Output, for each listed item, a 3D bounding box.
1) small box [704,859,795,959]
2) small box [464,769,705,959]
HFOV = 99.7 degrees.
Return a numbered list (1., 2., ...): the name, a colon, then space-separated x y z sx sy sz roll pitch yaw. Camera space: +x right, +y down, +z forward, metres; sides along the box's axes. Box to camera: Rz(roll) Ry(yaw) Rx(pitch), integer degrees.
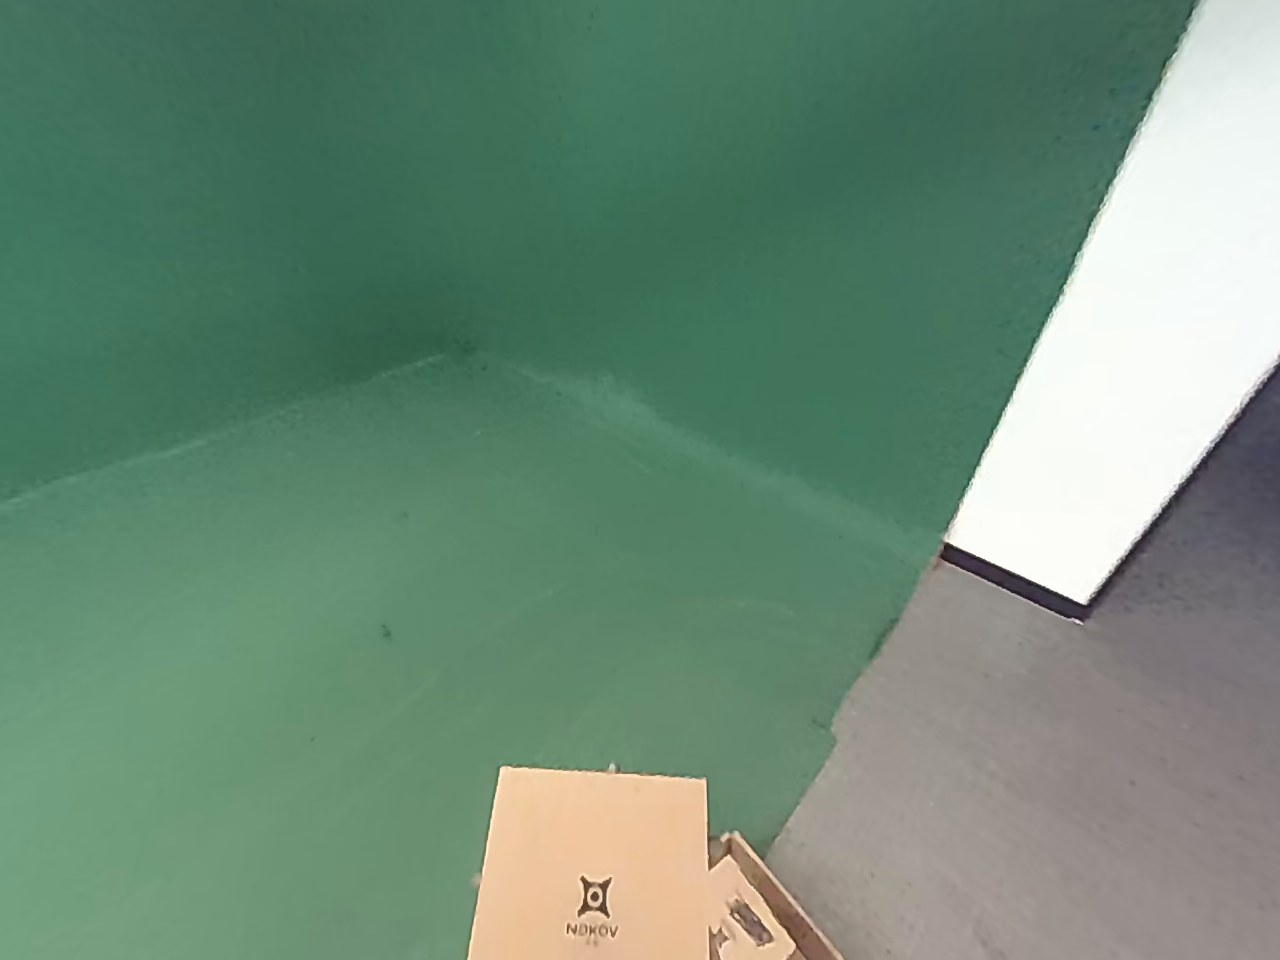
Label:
1. small box: 0.139 0.825 0.950 0.179 0.176 0.168 -25 46 -26
2. small box: -0.039 0.348 0.444 0.168 0.176 0.179 3 58 1
